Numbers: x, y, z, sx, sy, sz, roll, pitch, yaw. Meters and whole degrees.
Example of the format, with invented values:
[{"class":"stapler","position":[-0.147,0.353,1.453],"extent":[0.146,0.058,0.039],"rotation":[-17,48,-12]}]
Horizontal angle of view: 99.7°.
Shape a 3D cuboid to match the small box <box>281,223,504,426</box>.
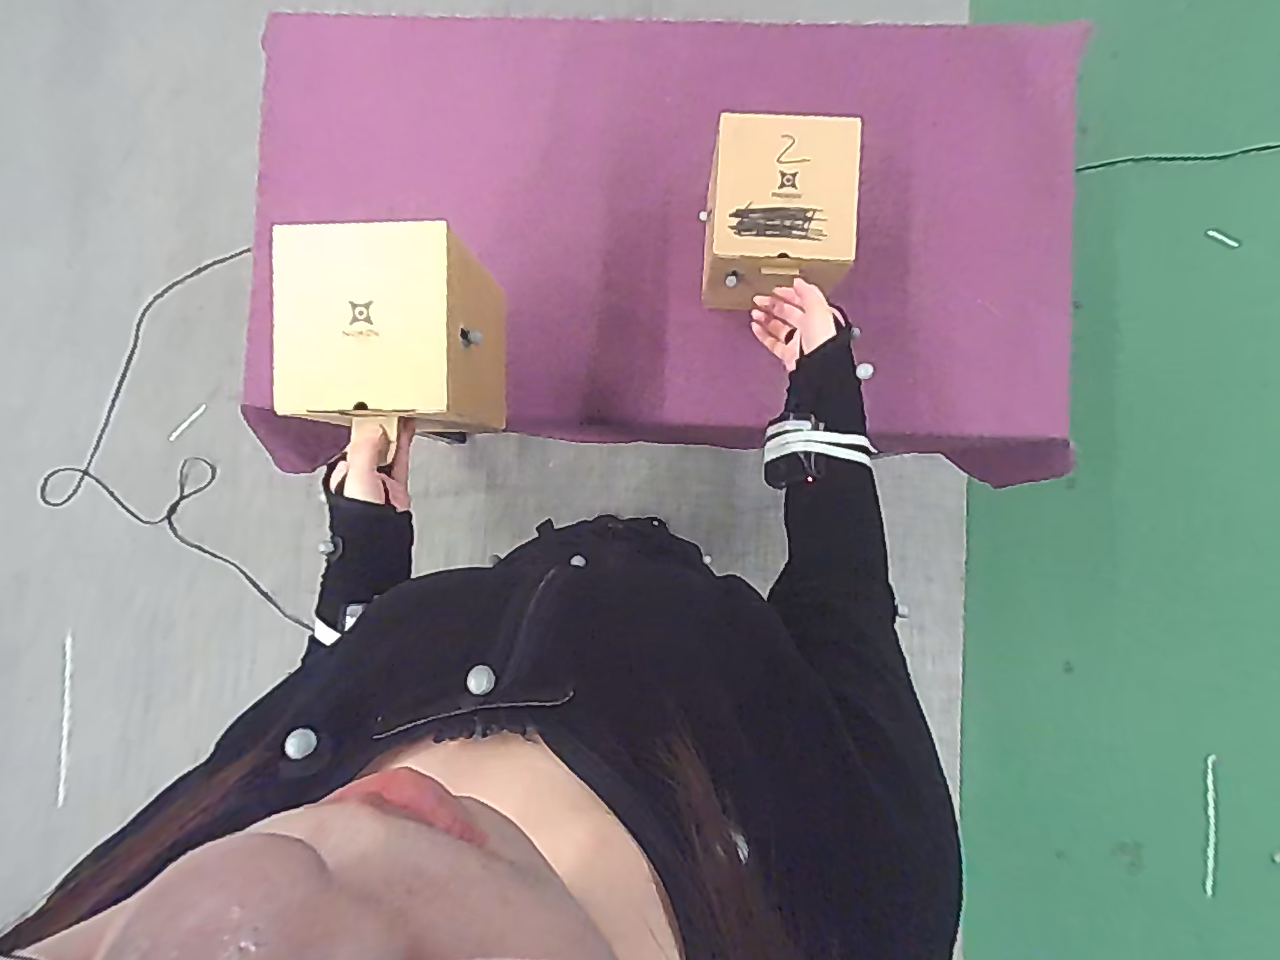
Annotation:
[{"class":"small box","position":[-0.253,-0.155,0.589],"extent":[0.168,0.176,0.179],"rotation":[0,91,3]}]
